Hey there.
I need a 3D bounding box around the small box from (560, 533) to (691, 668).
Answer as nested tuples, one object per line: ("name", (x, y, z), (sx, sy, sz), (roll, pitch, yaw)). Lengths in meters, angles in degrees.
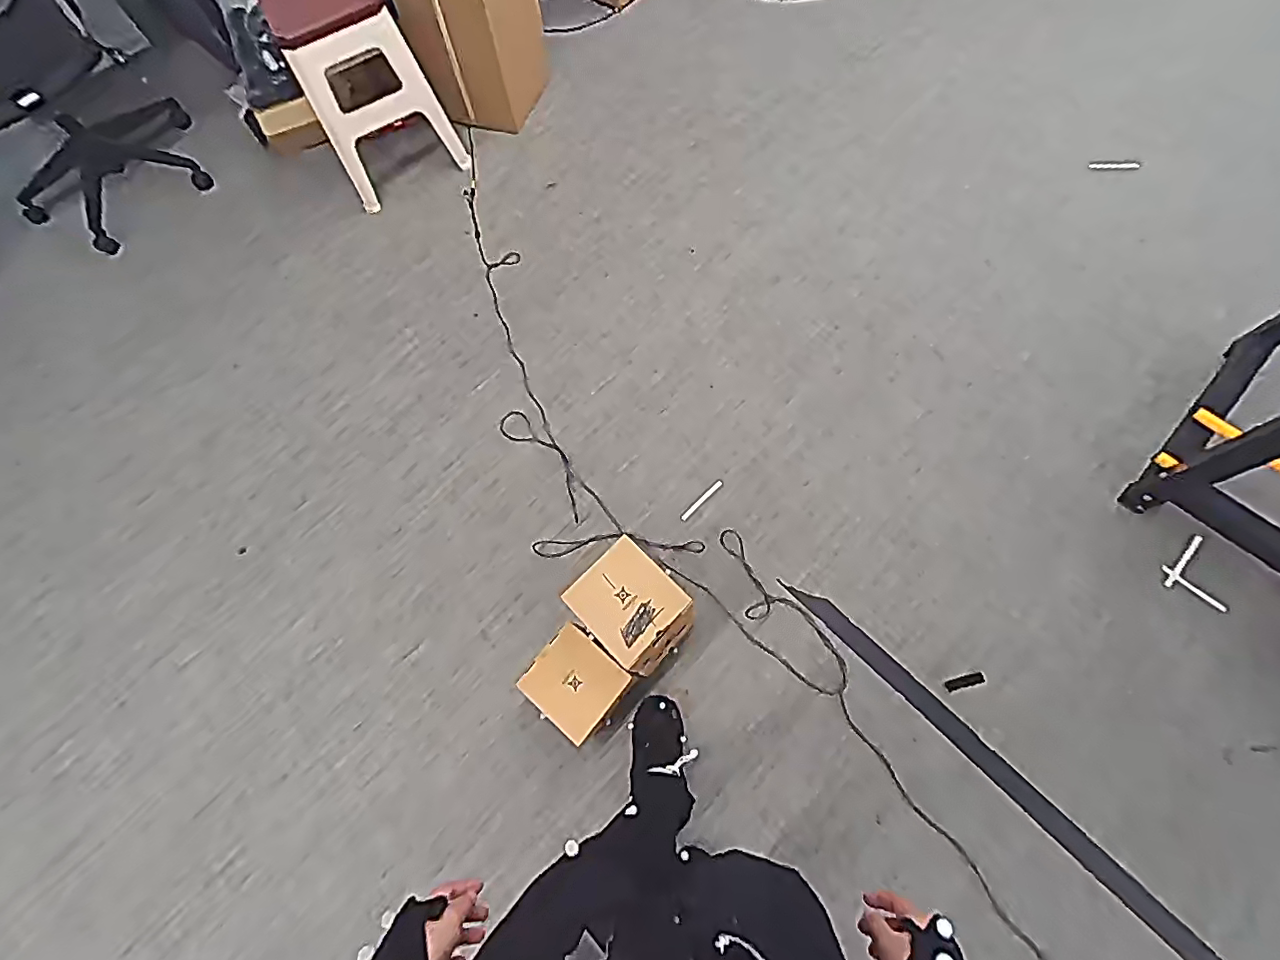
("small box", (-0.019, 0.231, 1.018), (0.168, 0.176, 0.179), (-44, 71, -11))
